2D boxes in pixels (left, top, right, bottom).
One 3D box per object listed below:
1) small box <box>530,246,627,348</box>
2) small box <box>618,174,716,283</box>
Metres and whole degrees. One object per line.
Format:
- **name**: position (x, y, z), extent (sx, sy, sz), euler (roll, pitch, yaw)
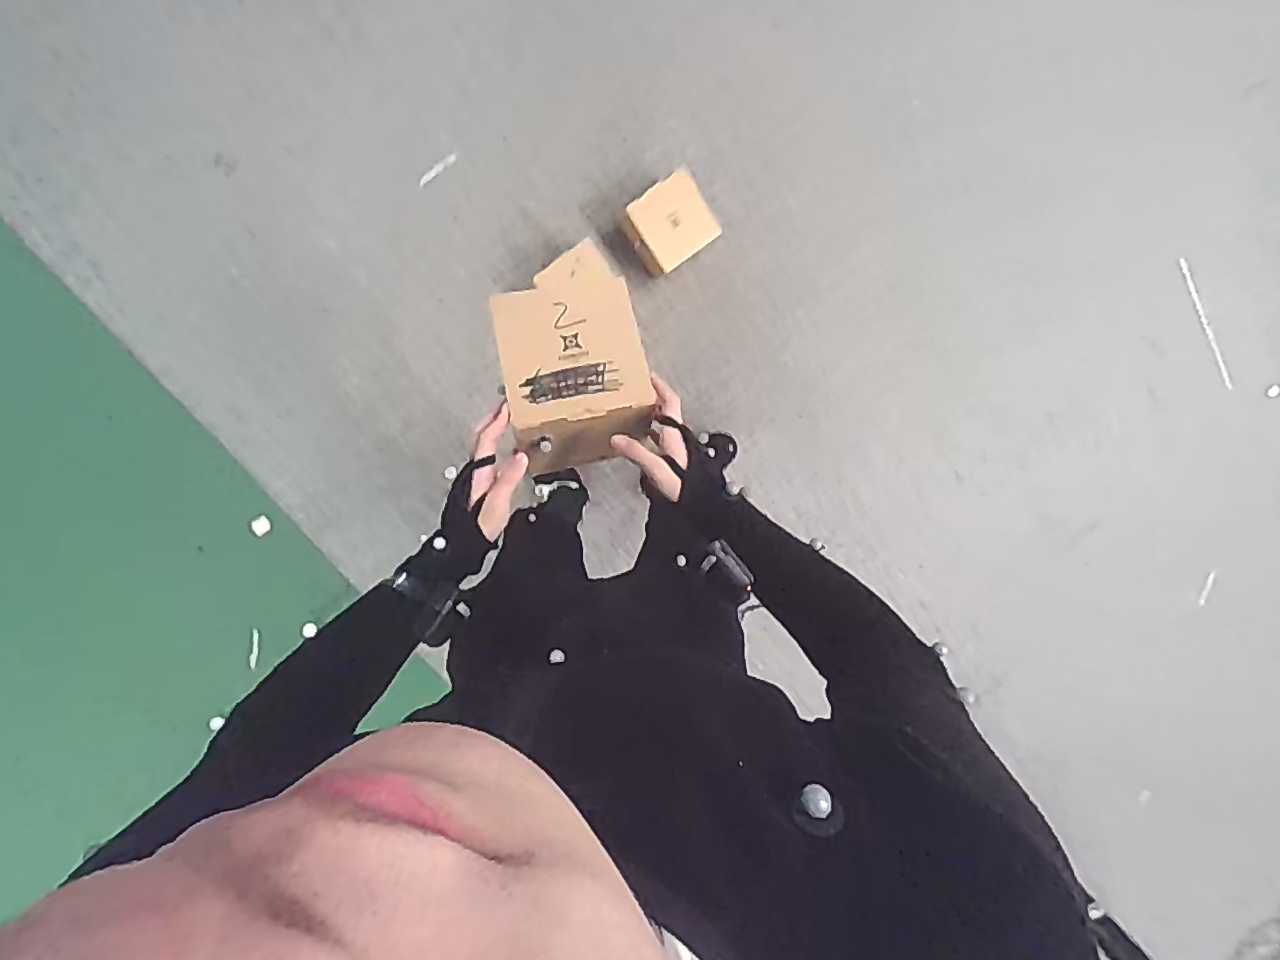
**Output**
- **small box**: position (-0.152, -0.449, 1.349), extent (0.168, 0.176, 0.179), euler (-36, 104, 1)
- **small box**: position (0.061, -0.611, 1.344), extent (0.168, 0.176, 0.179), euler (-36, 104, 2)
